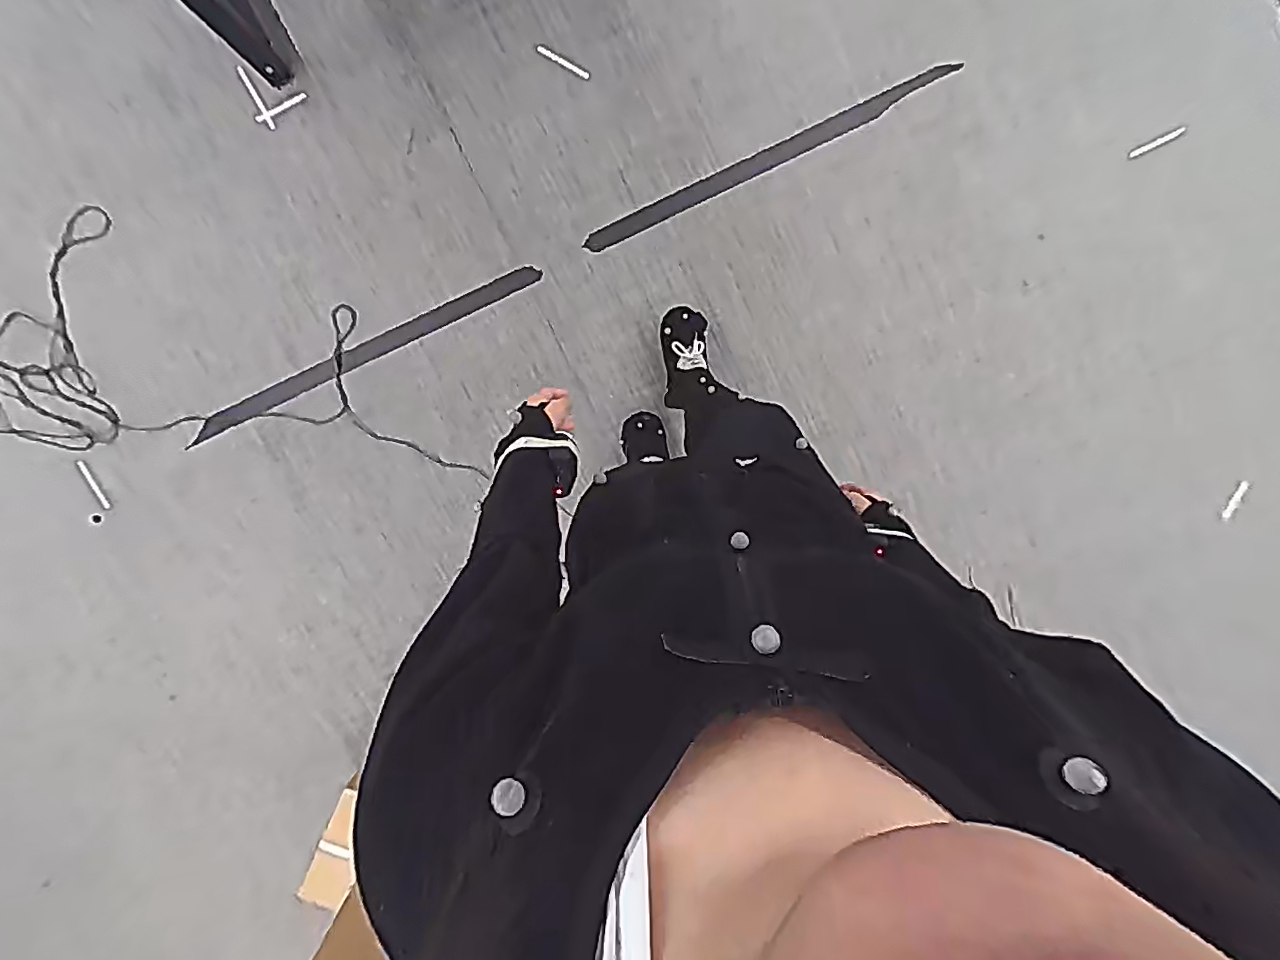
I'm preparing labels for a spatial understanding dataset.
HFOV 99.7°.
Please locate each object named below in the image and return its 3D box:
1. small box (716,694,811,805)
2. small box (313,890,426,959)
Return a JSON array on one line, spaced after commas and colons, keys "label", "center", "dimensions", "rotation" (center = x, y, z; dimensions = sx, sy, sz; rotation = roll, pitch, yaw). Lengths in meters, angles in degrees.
[{"label": "small box", "center": [0.333, 0.733, 1.489], "dimensions": [0.168, 0.176, 0.179], "rotation": [-36, 96, 1]}, {"label": "small box", "center": [-0.534, 0.943, 1.026], "dimensions": [0.168, 0.176, 0.179], "rotation": [23, 97, -4]}]
